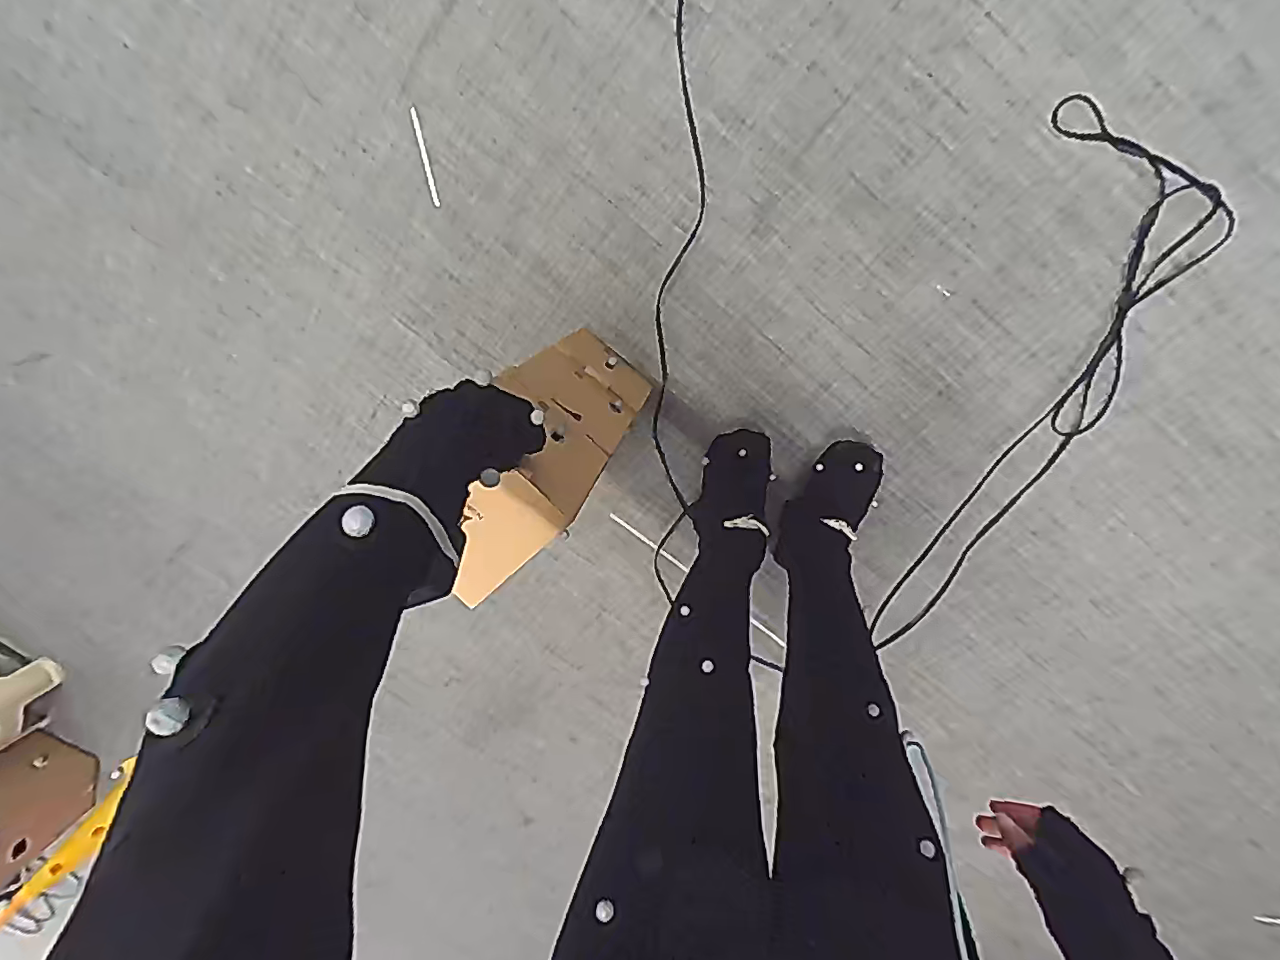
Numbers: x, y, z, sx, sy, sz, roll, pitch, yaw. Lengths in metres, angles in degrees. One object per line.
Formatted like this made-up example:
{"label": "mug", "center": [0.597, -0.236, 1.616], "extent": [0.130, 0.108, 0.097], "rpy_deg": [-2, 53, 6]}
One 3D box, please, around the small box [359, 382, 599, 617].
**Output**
{"label": "small box", "center": [-0.171, 0.016, 0.626], "extent": [0.168, 0.176, 0.179], "rpy_deg": [44, 114, -11]}

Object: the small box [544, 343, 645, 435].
{"label": "small box", "center": [-0.107, -0.113, 0.923], "extent": [0.168, 0.176, 0.179], "rpy_deg": [38, 113, -4]}

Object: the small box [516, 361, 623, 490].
{"label": "small box", "center": [-0.140, -0.045, 0.773], "extent": [0.168, 0.176, 0.179], "rpy_deg": [40, 116, -9]}
